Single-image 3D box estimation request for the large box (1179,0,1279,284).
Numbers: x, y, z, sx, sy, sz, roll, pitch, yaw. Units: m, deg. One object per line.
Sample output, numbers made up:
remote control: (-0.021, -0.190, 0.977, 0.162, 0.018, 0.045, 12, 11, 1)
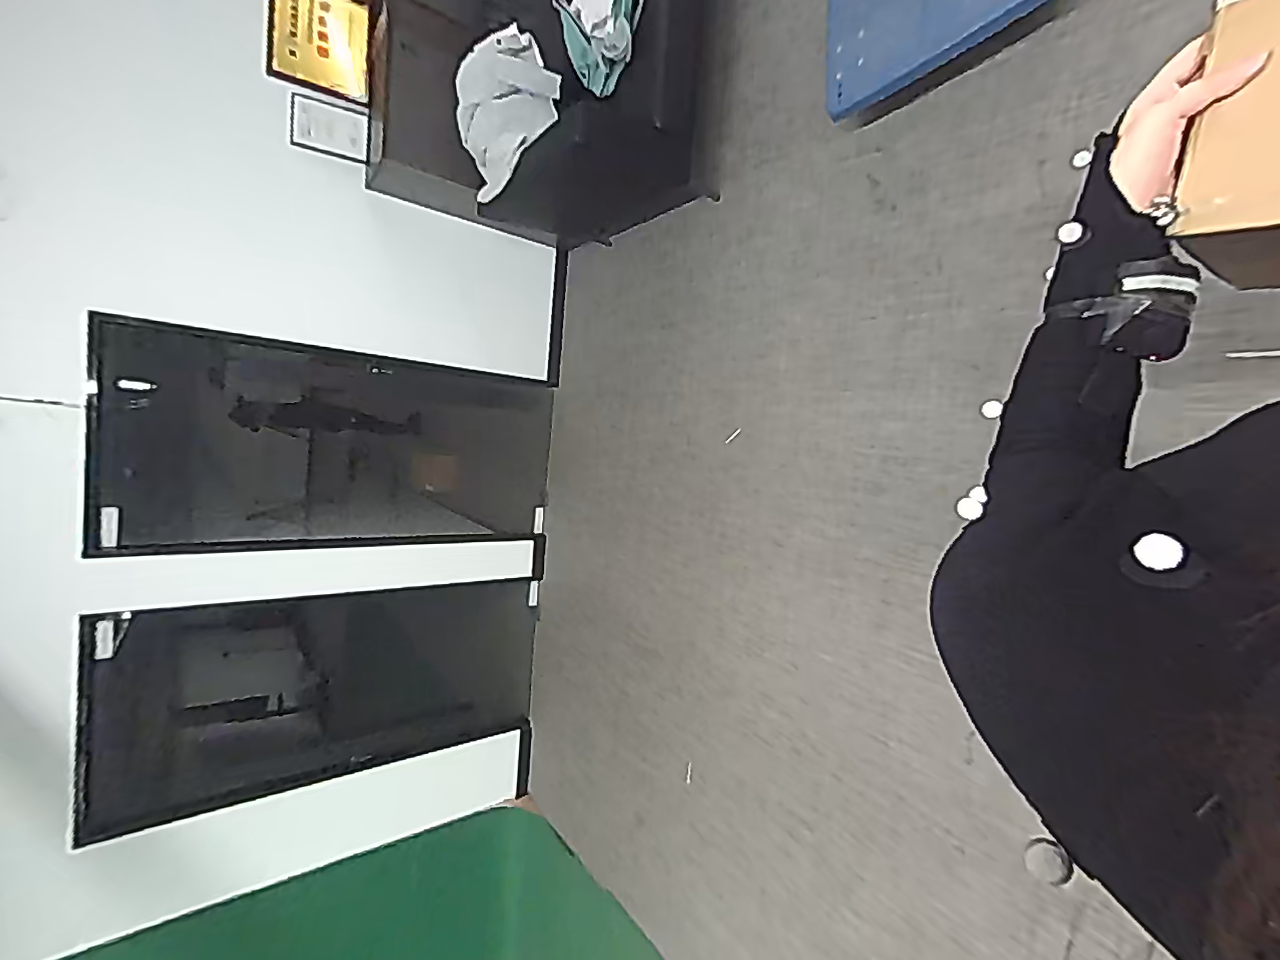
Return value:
large box: (0.652, -0.308, 0.308, 0.408, 0.320, 0.320, 18, 108, 54)
